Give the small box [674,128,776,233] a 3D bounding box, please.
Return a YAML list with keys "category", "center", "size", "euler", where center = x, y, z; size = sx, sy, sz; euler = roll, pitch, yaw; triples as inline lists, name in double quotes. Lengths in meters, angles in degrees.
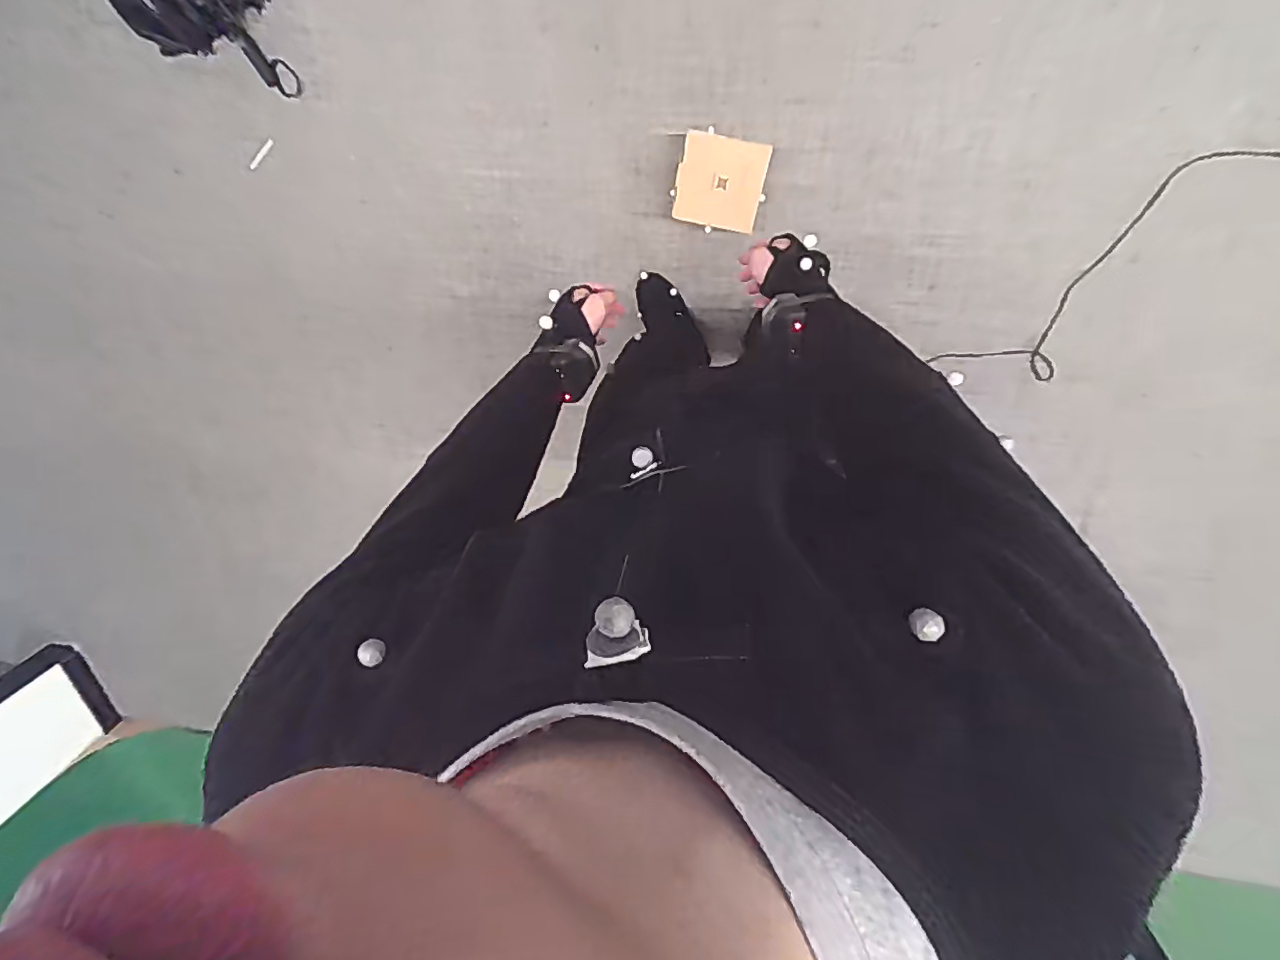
- category: "small box"
  center: [0.181, -0.647, 1.176]
  size: [0.179, 0.176, 0.168]
  euler: [12, 120, 2]
